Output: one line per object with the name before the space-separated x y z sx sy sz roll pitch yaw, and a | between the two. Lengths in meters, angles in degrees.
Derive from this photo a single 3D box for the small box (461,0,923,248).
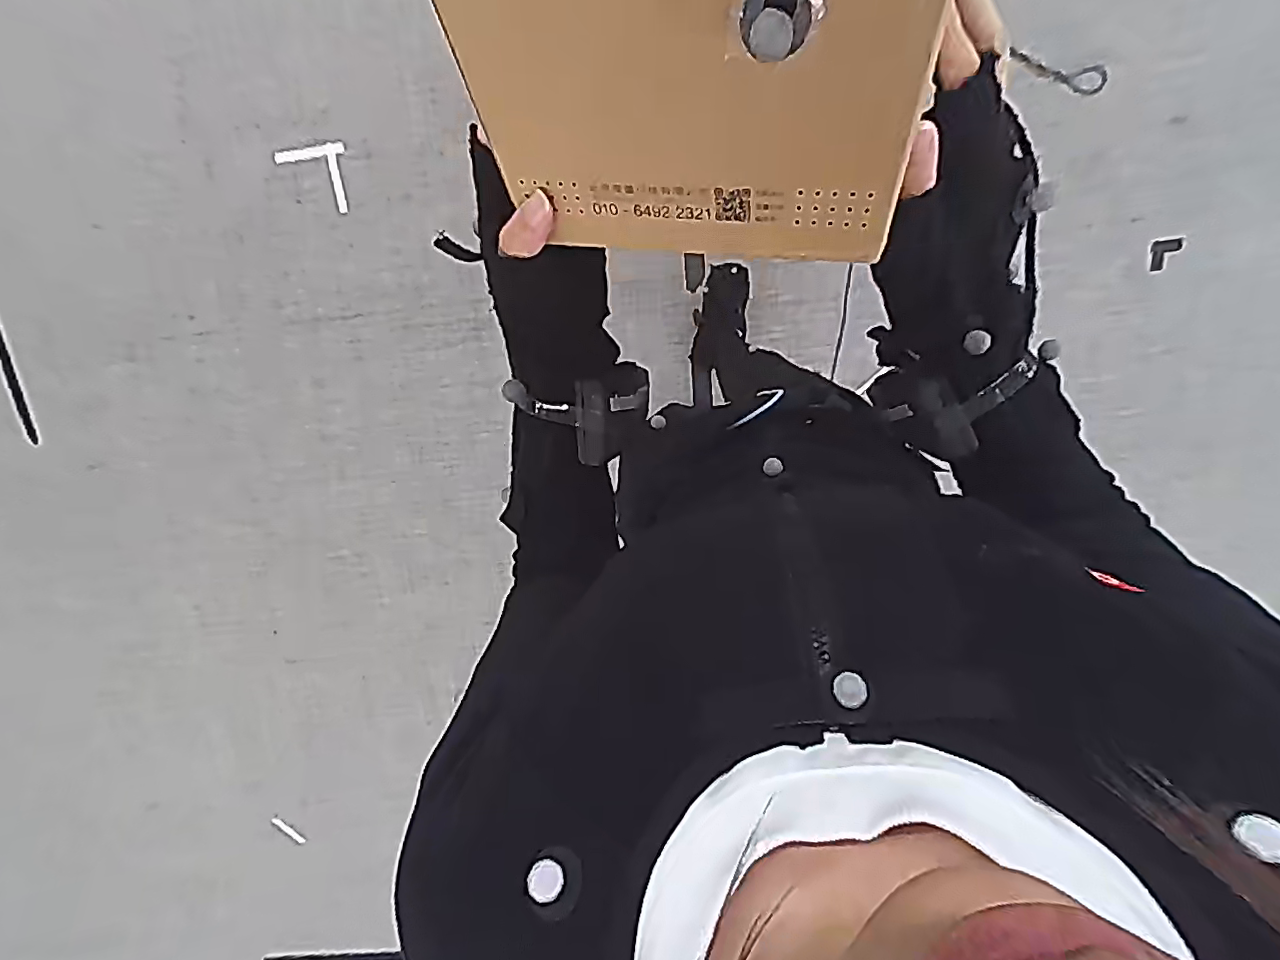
small box | 0.035 -0.225 0.229 0.168 0.176 0.179 12 65 16
